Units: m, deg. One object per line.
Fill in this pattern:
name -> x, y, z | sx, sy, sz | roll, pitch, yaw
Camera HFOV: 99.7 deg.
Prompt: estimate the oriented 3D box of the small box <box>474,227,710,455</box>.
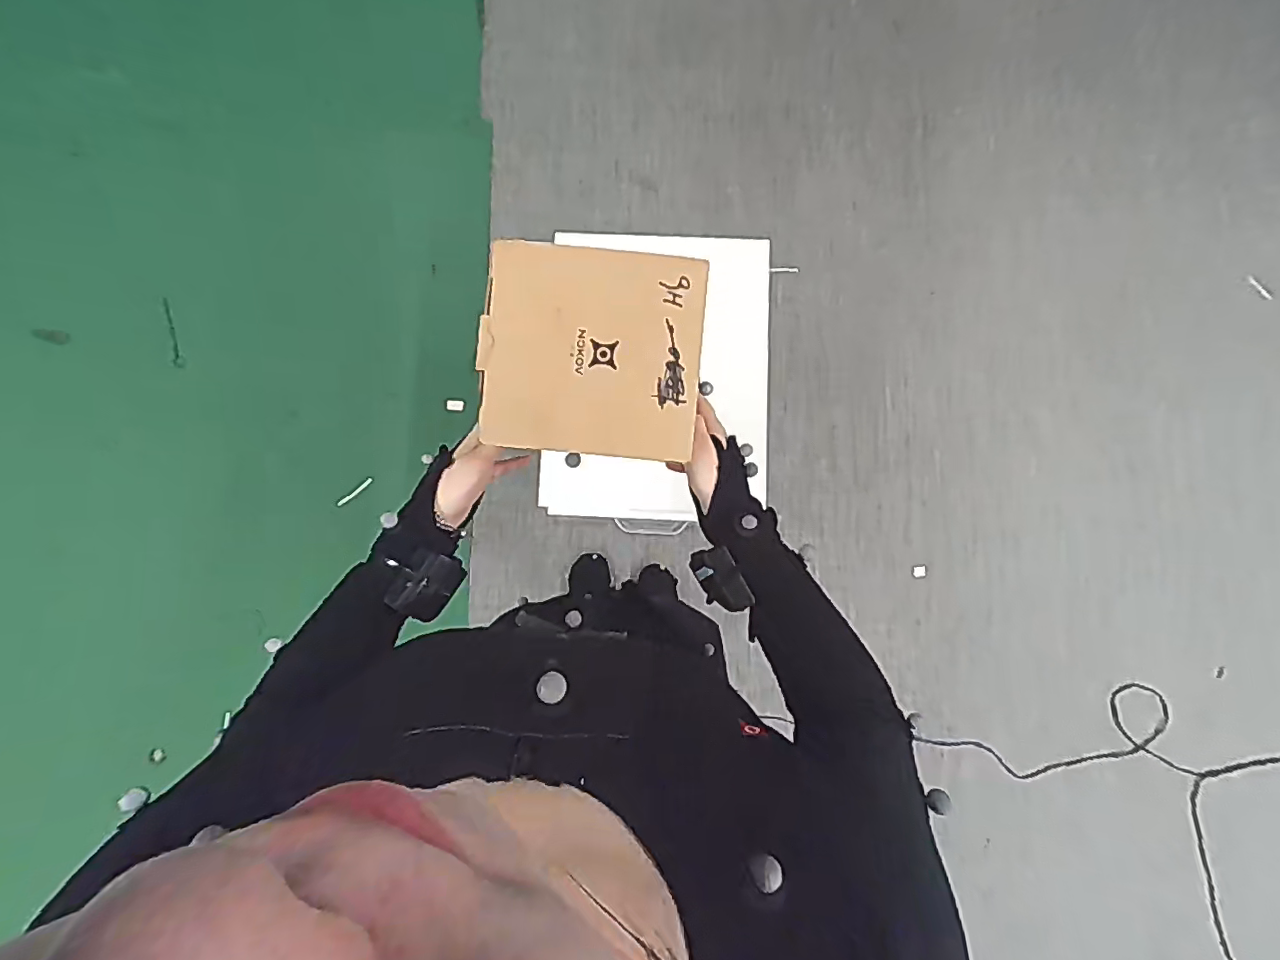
small box -> -0.039, -0.114, 0.510 | 0.179, 0.176, 0.168 | 6, 92, -1
